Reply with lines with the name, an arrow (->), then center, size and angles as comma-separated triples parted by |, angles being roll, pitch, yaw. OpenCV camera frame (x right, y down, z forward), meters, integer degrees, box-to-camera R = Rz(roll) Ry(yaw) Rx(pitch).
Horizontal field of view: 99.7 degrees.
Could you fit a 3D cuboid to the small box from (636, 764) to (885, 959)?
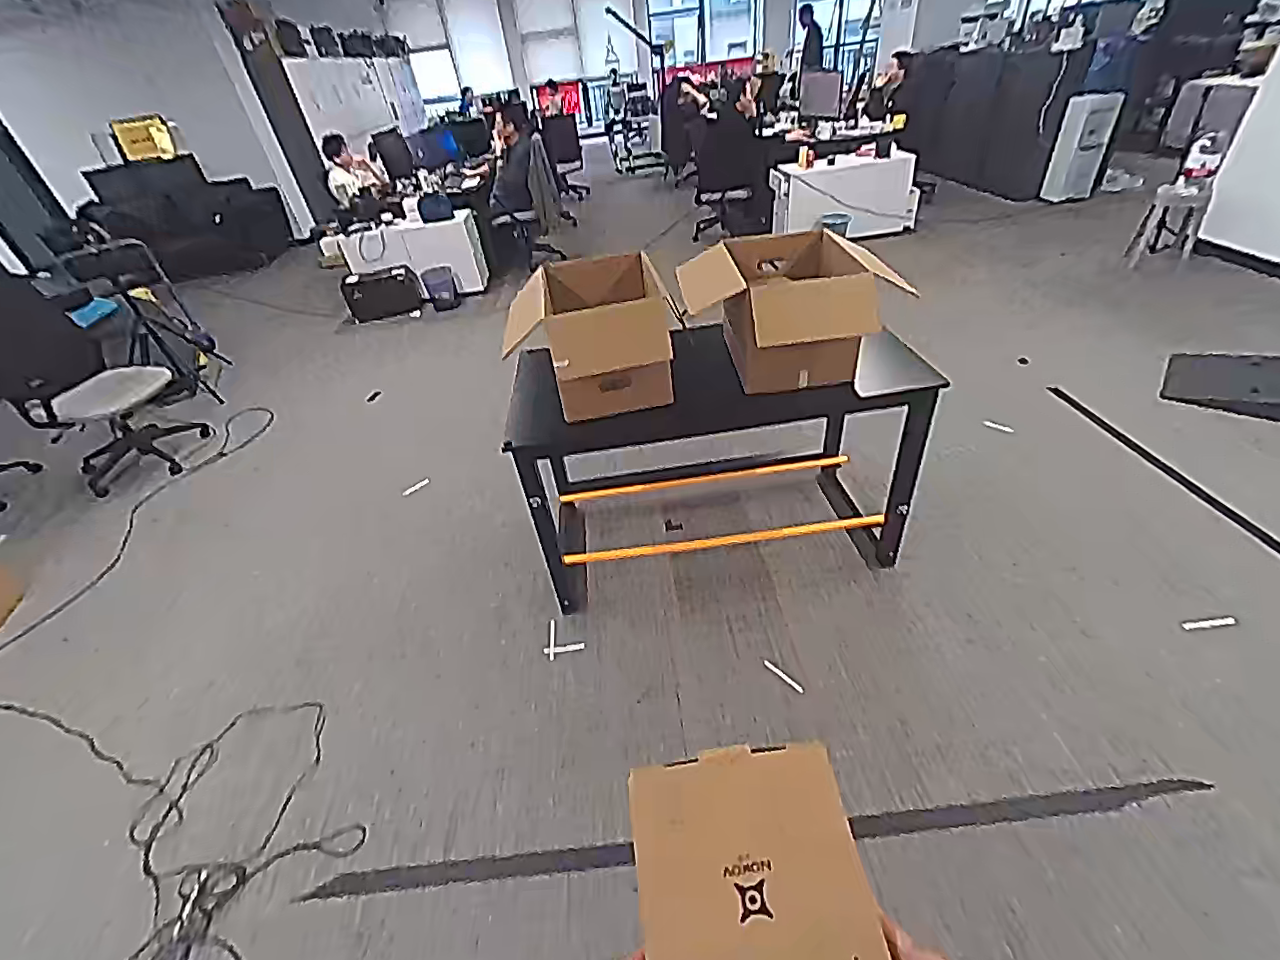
small box -> 0.090, 0.365, 0.458 | 0.168, 0.176, 0.179 | -8, 50, -1
